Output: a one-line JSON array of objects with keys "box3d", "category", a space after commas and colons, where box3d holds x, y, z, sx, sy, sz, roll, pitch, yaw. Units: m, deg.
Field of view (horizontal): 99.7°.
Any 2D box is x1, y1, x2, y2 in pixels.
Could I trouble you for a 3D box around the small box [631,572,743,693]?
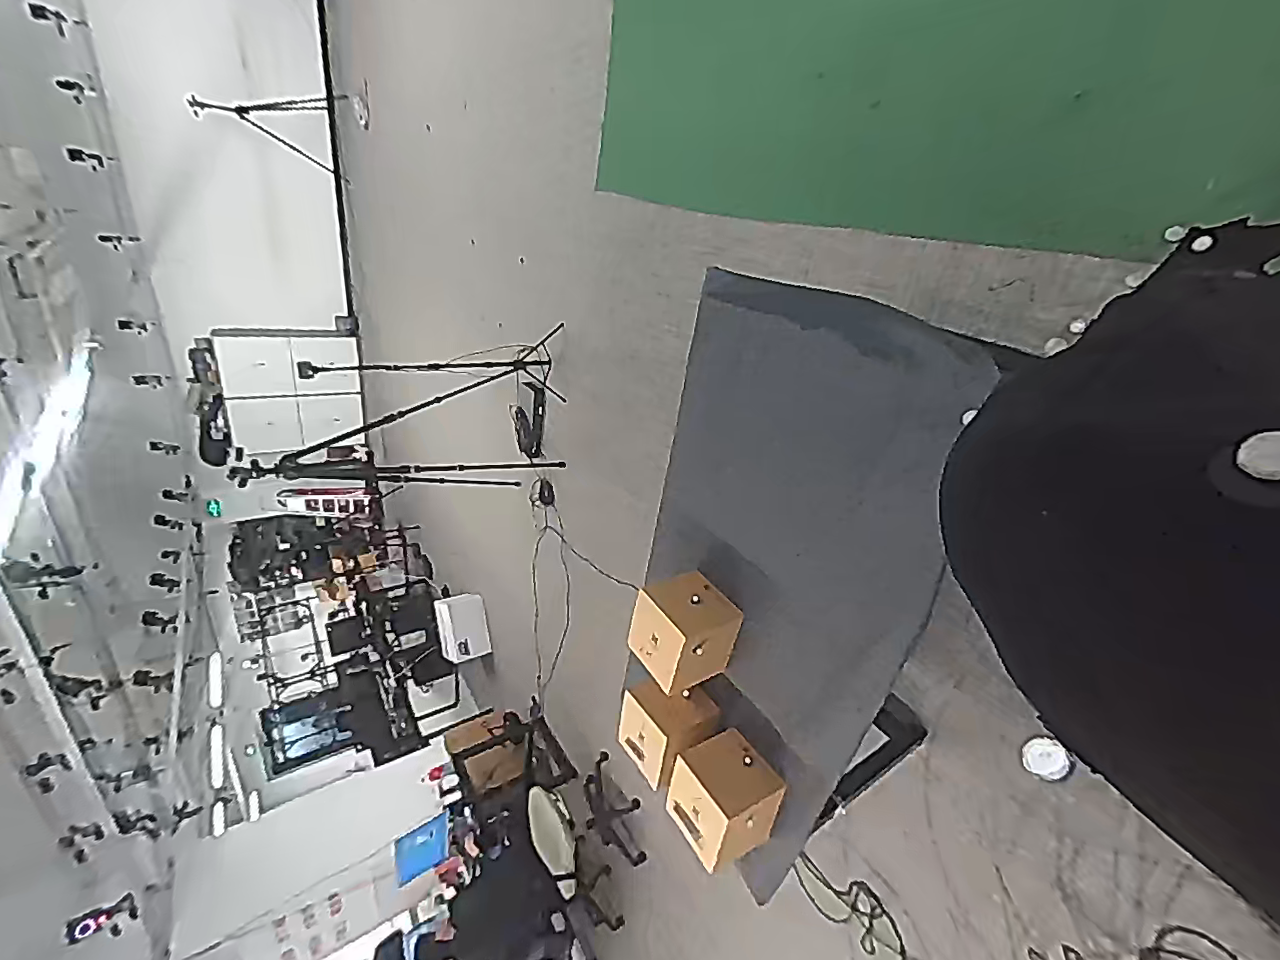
[{"box3d": [0.106, 0.330, 1.206, 0.168, 0.176, 0.179, 42, 130, 43], "category": "small box"}]
